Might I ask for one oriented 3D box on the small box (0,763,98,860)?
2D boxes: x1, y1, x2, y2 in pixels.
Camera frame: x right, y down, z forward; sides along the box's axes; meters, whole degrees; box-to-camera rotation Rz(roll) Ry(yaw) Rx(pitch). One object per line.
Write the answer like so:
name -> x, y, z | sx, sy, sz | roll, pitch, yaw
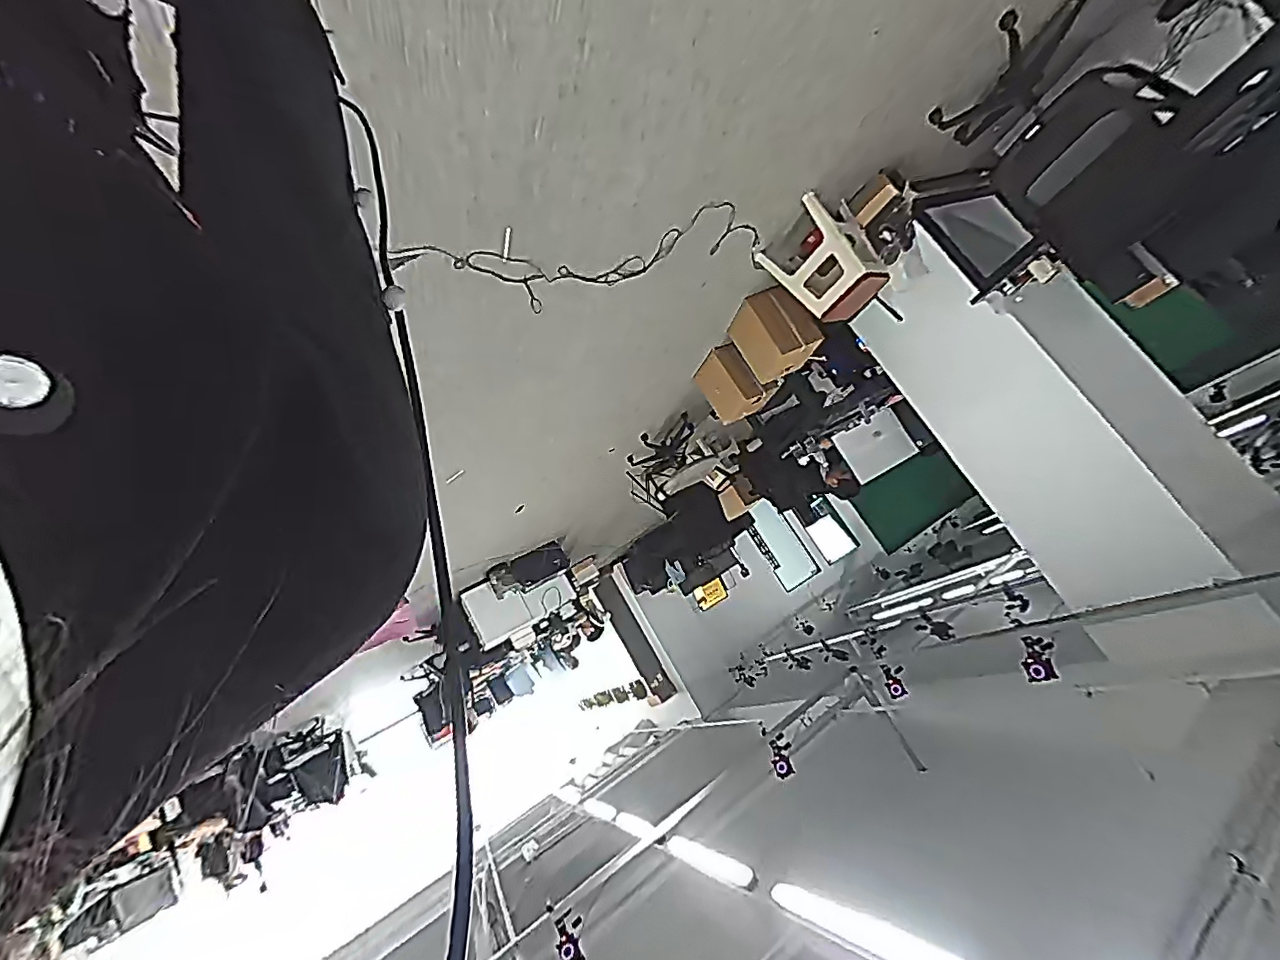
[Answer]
small box -> -1.652, 0.897, 1.475 | 0.179, 0.176, 0.168 | -23, 165, -30
